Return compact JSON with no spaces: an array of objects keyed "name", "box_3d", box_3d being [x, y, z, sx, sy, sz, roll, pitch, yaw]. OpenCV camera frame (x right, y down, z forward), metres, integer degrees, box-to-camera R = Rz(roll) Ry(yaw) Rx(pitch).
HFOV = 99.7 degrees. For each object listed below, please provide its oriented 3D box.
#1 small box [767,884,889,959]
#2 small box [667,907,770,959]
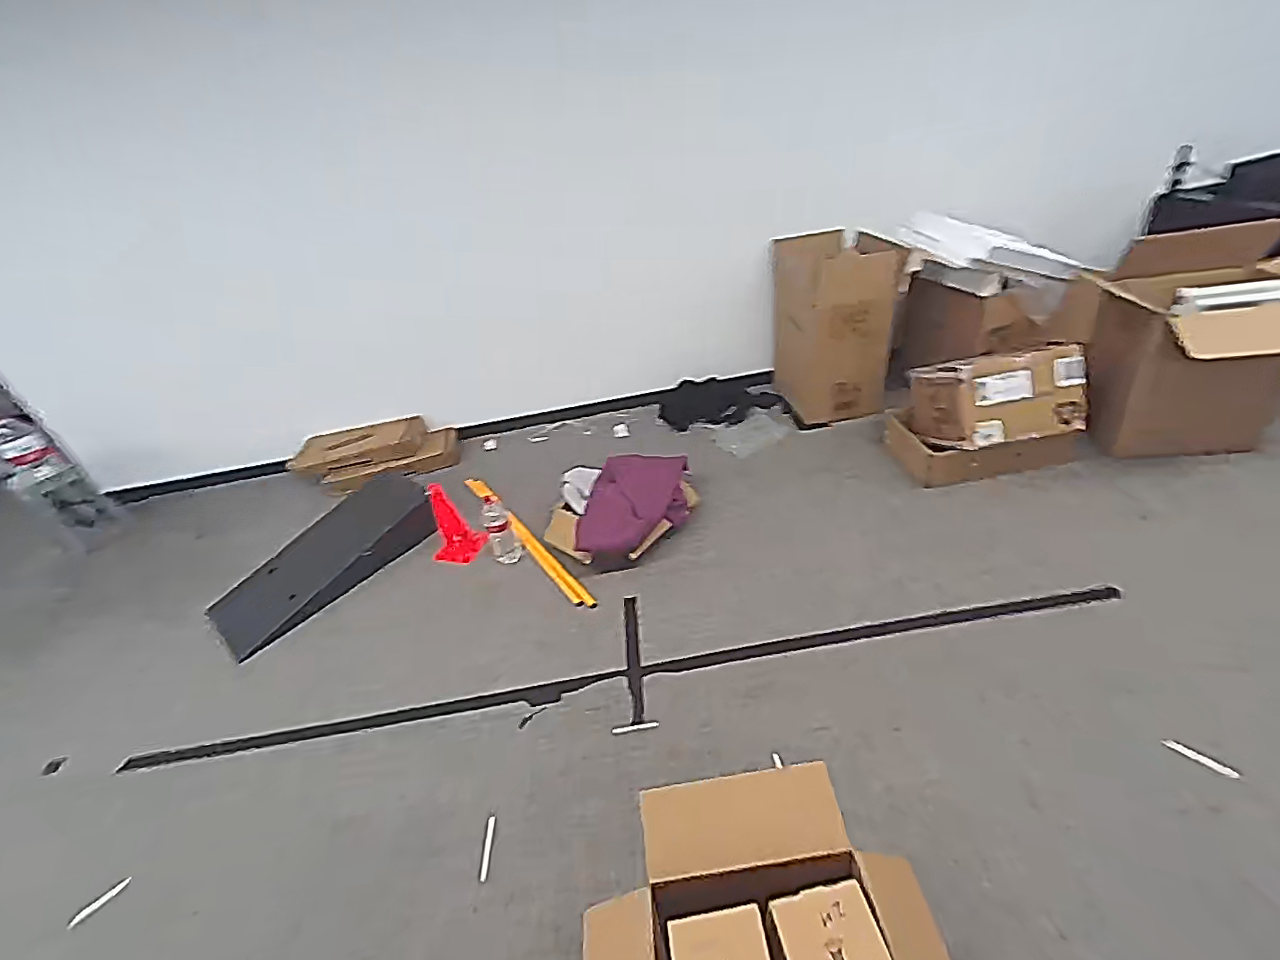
[{"name":"small box","box_3d":[0.328,0.844,0.928,0.168,0.176,0.179,-10,34,-6]},{"name":"small box","box_3d":[0.152,0.881,0.925,0.168,0.176,0.179,-14,33,1]}]
